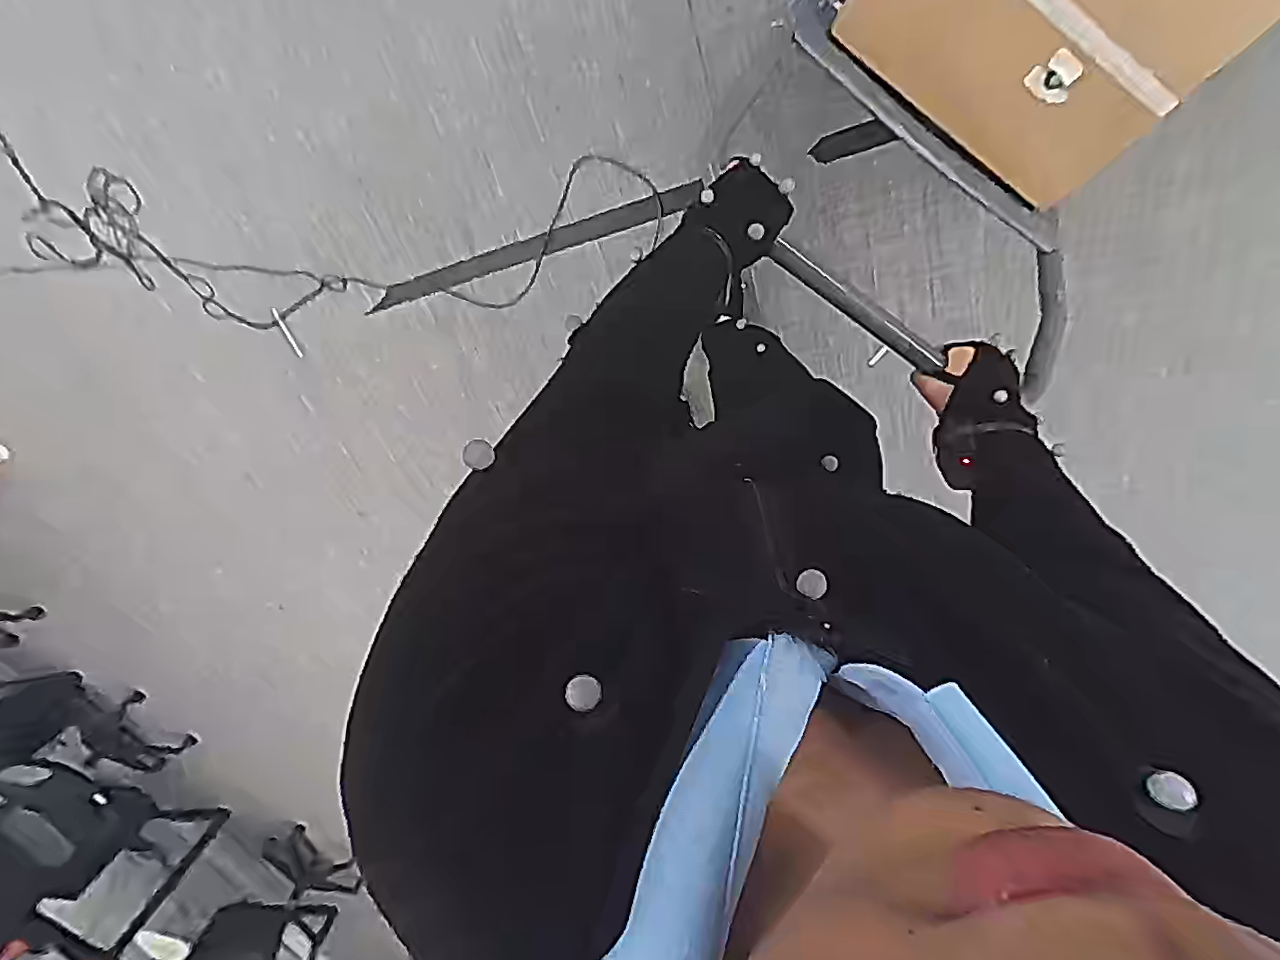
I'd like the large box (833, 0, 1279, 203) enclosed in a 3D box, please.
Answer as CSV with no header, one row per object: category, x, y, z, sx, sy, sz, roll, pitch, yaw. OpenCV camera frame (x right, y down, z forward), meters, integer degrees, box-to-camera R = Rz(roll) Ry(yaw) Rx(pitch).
large box,0.537,-0.684,0.737,0.408,0.320,0.320,32,143,-10
